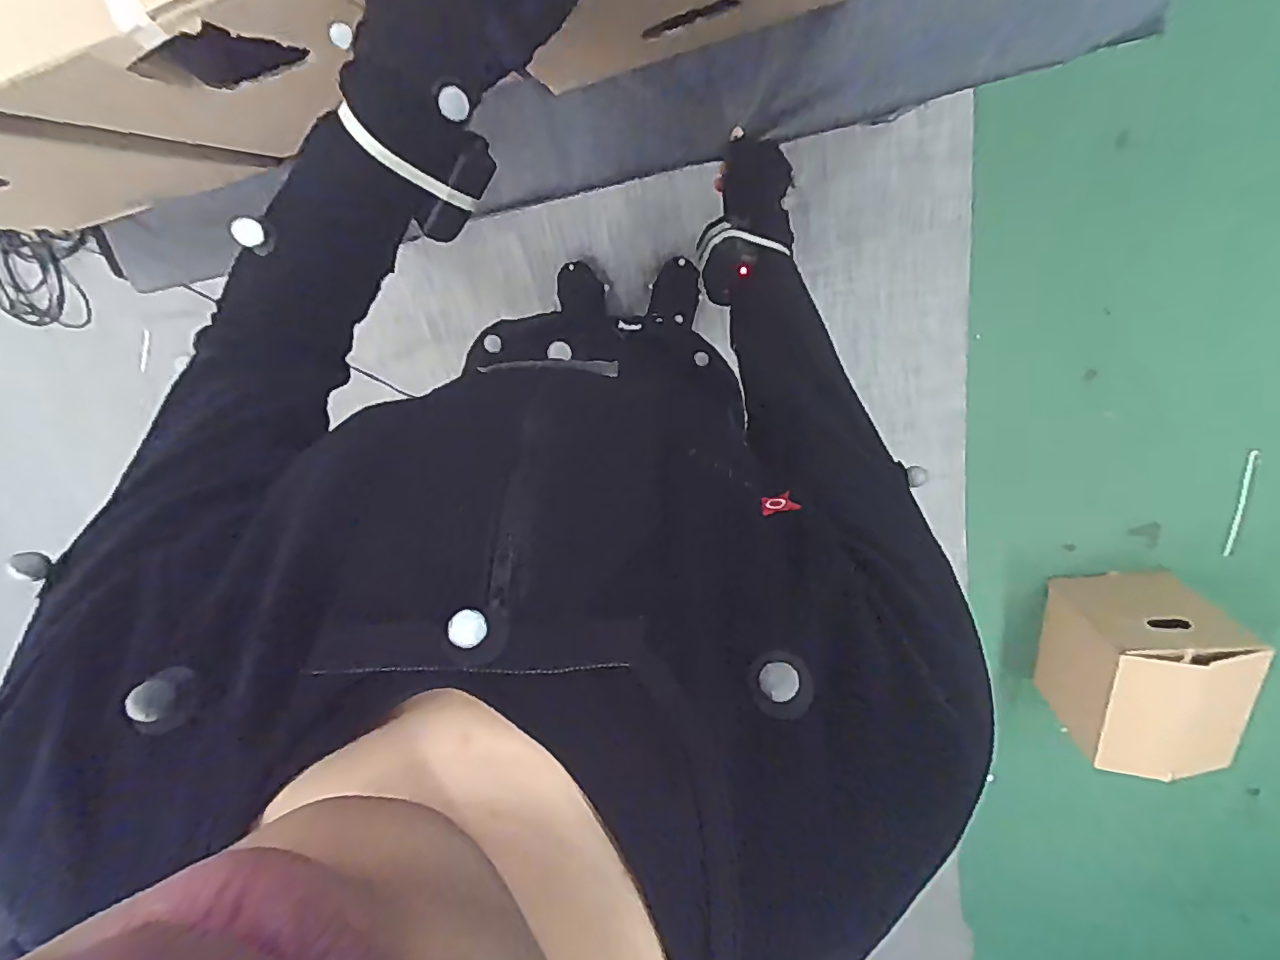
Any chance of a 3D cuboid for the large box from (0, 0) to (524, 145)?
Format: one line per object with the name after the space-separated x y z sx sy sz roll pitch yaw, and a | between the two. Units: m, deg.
-0.325 -0.520 0.383 0.320 0.320 0.408 -10 114 12 | large box
